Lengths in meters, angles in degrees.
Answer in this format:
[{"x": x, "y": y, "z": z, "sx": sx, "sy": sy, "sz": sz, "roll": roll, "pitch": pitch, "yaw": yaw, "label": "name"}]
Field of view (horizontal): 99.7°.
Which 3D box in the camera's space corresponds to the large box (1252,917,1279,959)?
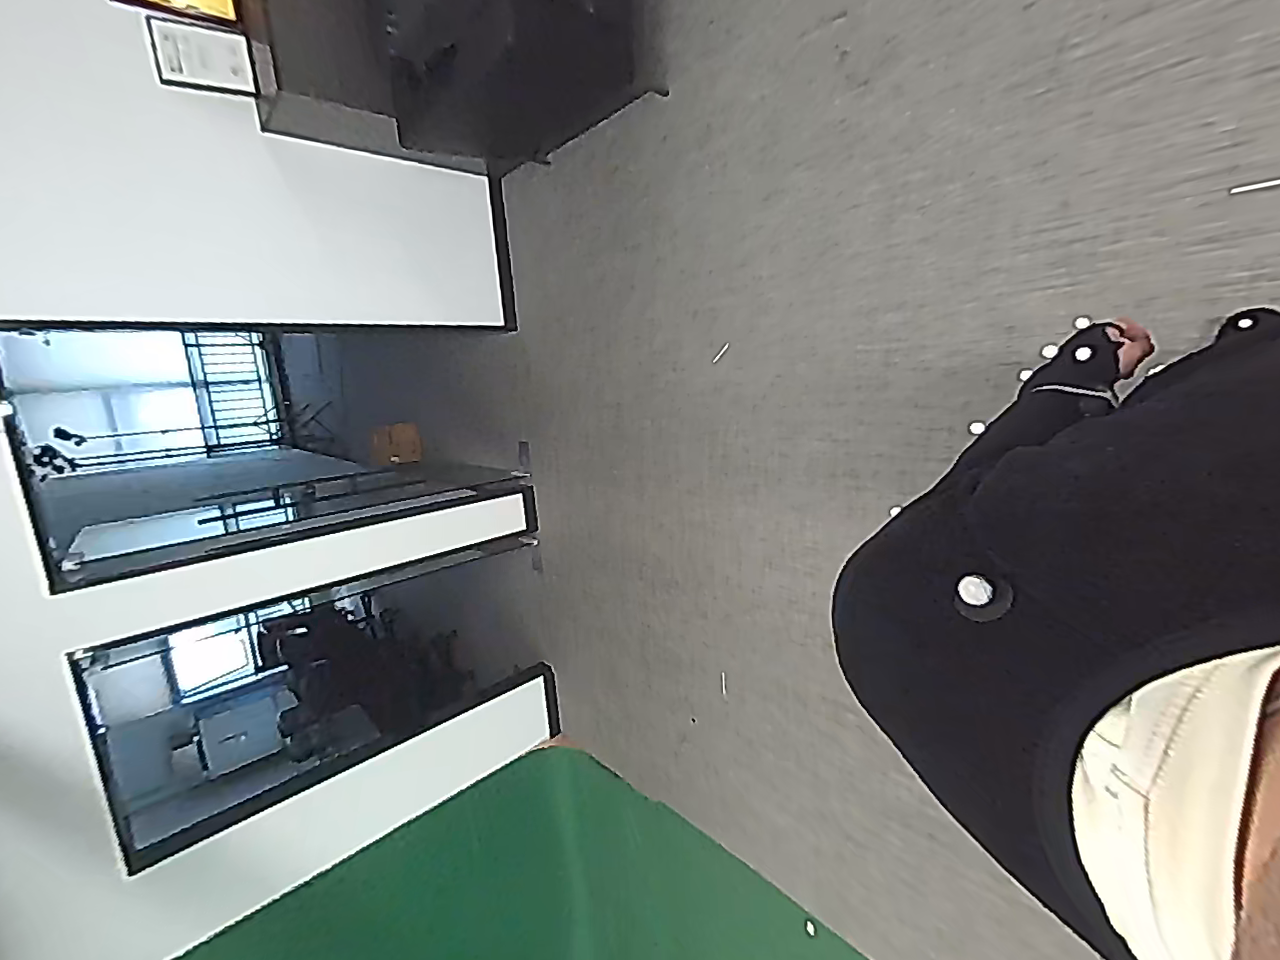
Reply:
[{"x": 1.434, "y": 1.167, "z": 1.006, "sx": 0.408, "sy": 0.320, "sz": 0.320, "roll": 6, "pitch": 103, "yaw": 49, "label": "large box"}]
